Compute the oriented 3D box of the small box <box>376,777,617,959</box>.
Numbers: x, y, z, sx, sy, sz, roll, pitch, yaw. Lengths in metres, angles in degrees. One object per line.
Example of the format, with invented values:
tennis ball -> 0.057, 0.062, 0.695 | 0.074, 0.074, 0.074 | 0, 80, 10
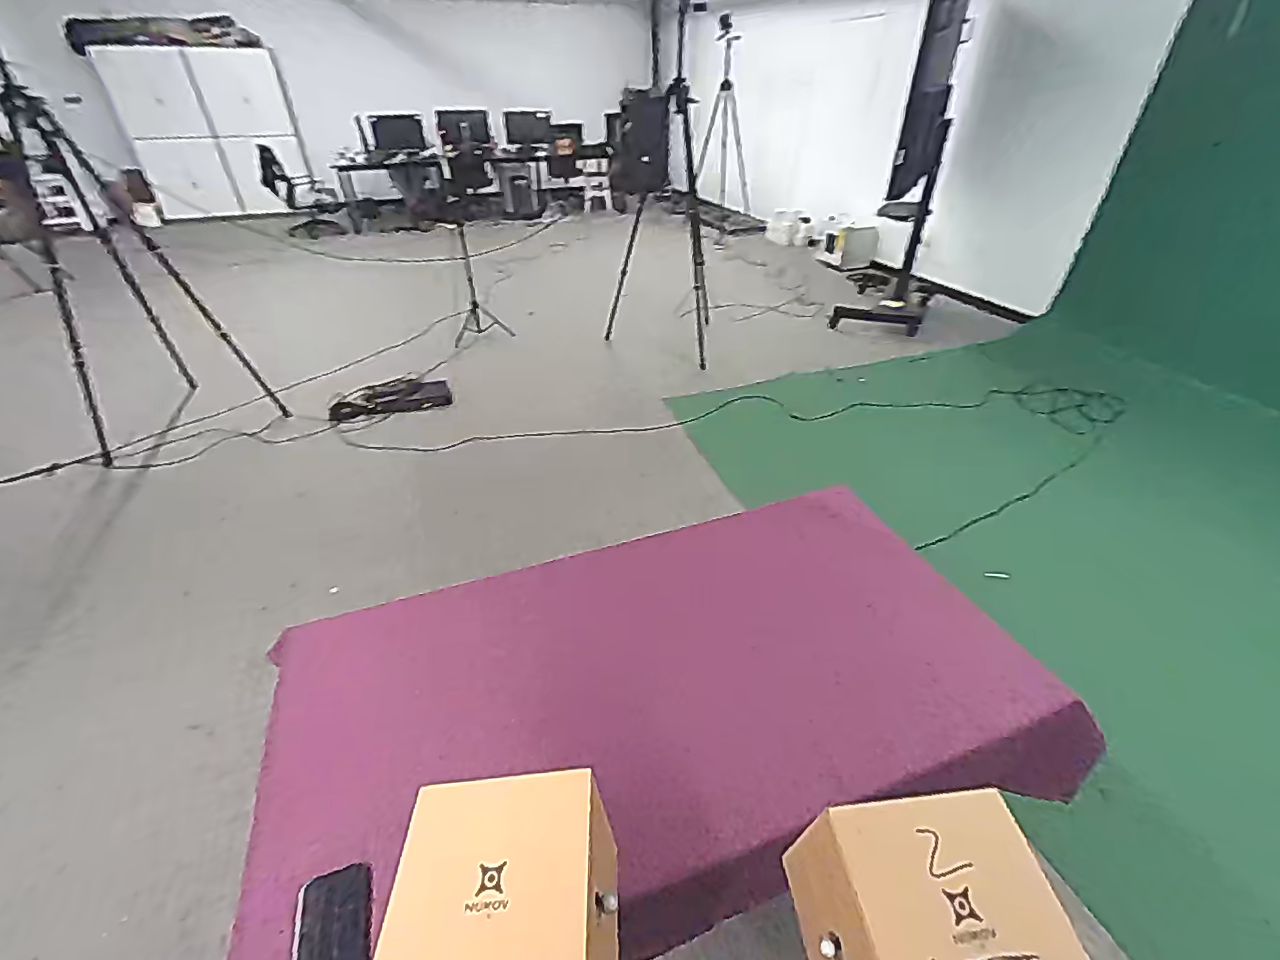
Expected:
small box -> -0.112, 0.400, 0.481 | 0.168, 0.176, 0.179 | -6, 35, 0
